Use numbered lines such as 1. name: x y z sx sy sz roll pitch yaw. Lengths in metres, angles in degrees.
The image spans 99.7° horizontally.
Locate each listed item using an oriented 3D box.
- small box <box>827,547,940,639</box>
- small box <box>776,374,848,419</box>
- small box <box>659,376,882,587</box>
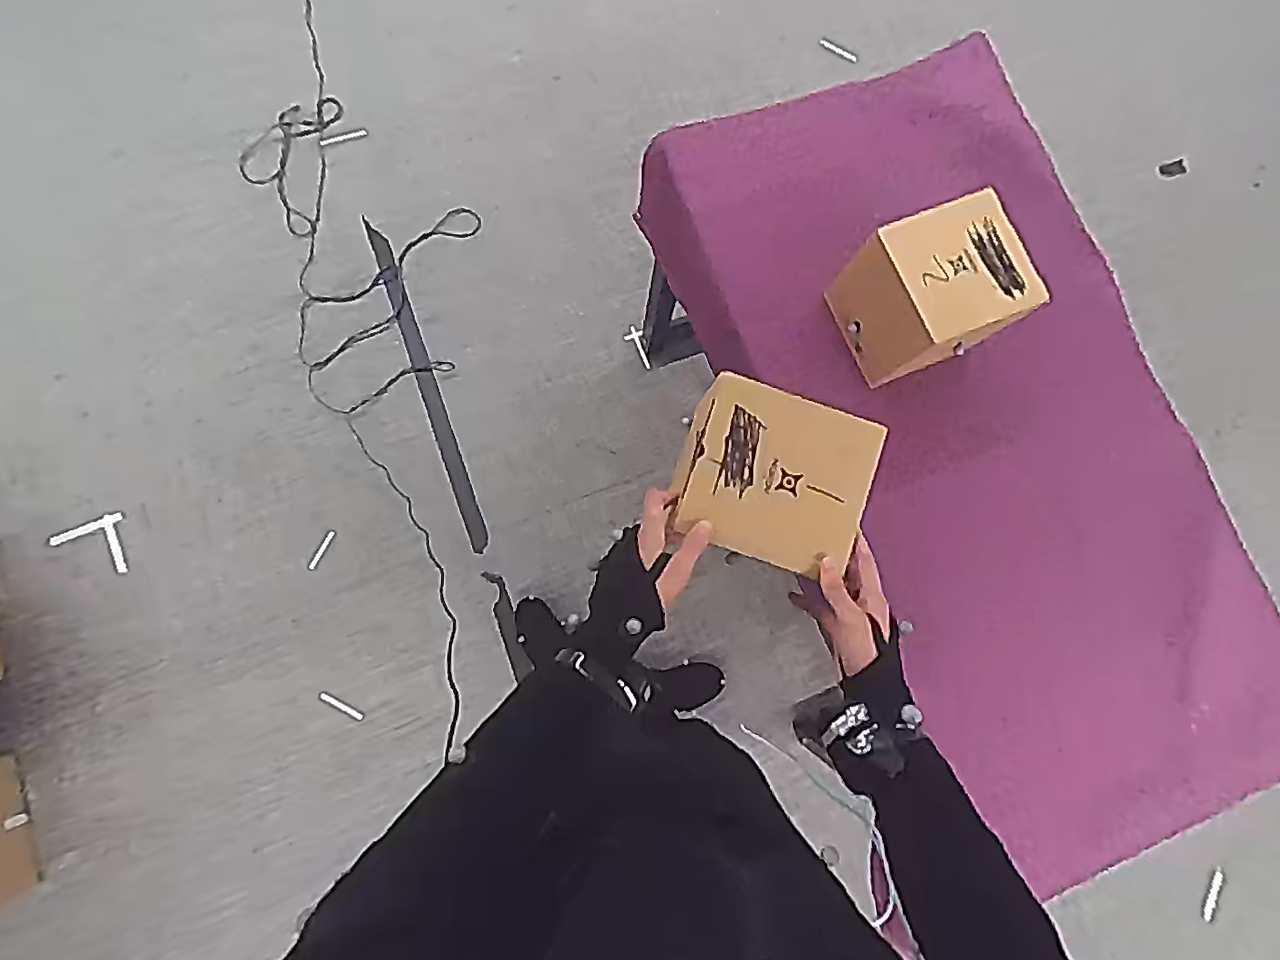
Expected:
1. small box: 0.571 0.271 1.307 0.179 0.176 0.168 -20 82 -8
2. small box: 0.403 -0.137 1.366 0.168 0.176 0.179 -22 83 -8
3. small box: 0.128 0.007 0.601 0.179 0.176 0.168 19 85 -2
